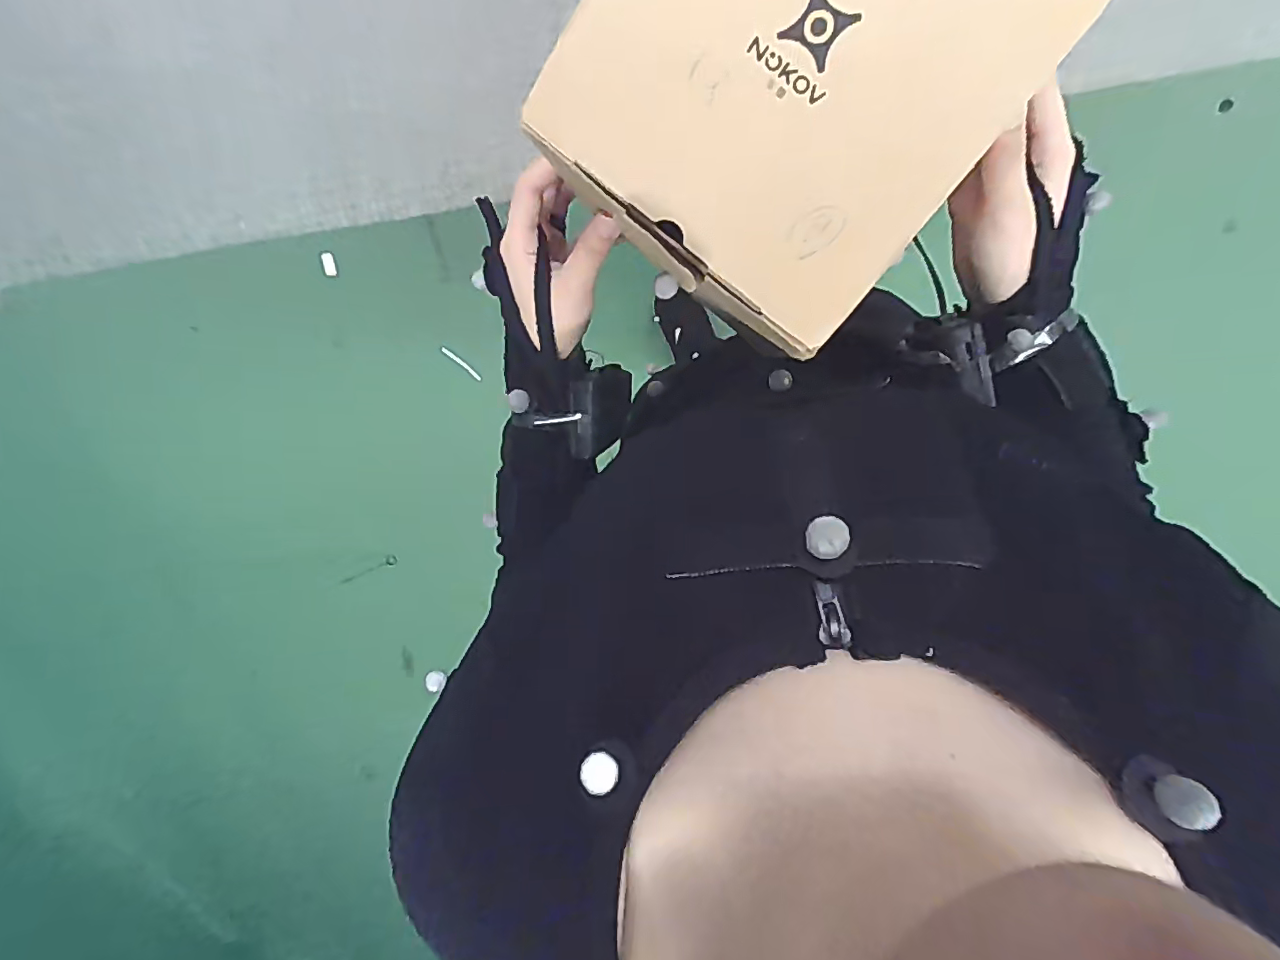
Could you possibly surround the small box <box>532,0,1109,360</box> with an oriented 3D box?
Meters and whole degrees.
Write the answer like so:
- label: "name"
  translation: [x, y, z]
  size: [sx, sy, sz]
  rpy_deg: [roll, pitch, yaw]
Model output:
- label: "small box"
  translation: [0.076, -0.185, 0.300]
  size: [0.168, 0.176, 0.179]
  rpy_deg: [38, 105, -2]
